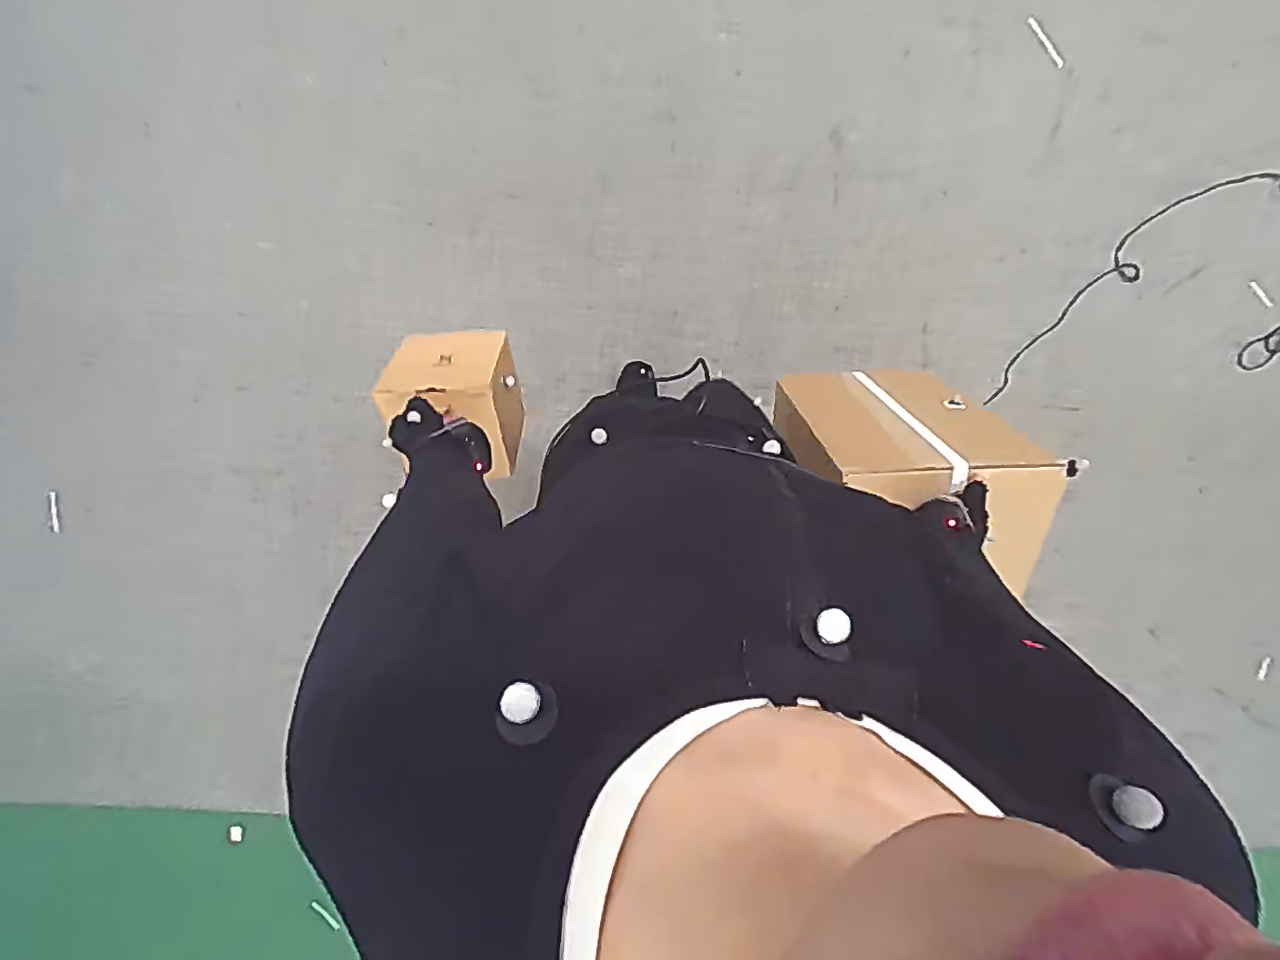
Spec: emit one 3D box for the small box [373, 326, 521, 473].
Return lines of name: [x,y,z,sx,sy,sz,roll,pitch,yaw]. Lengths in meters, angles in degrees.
small box: [-0.294,-0.130,0.869,0.168,0.179,0.176,-3,133,0]
